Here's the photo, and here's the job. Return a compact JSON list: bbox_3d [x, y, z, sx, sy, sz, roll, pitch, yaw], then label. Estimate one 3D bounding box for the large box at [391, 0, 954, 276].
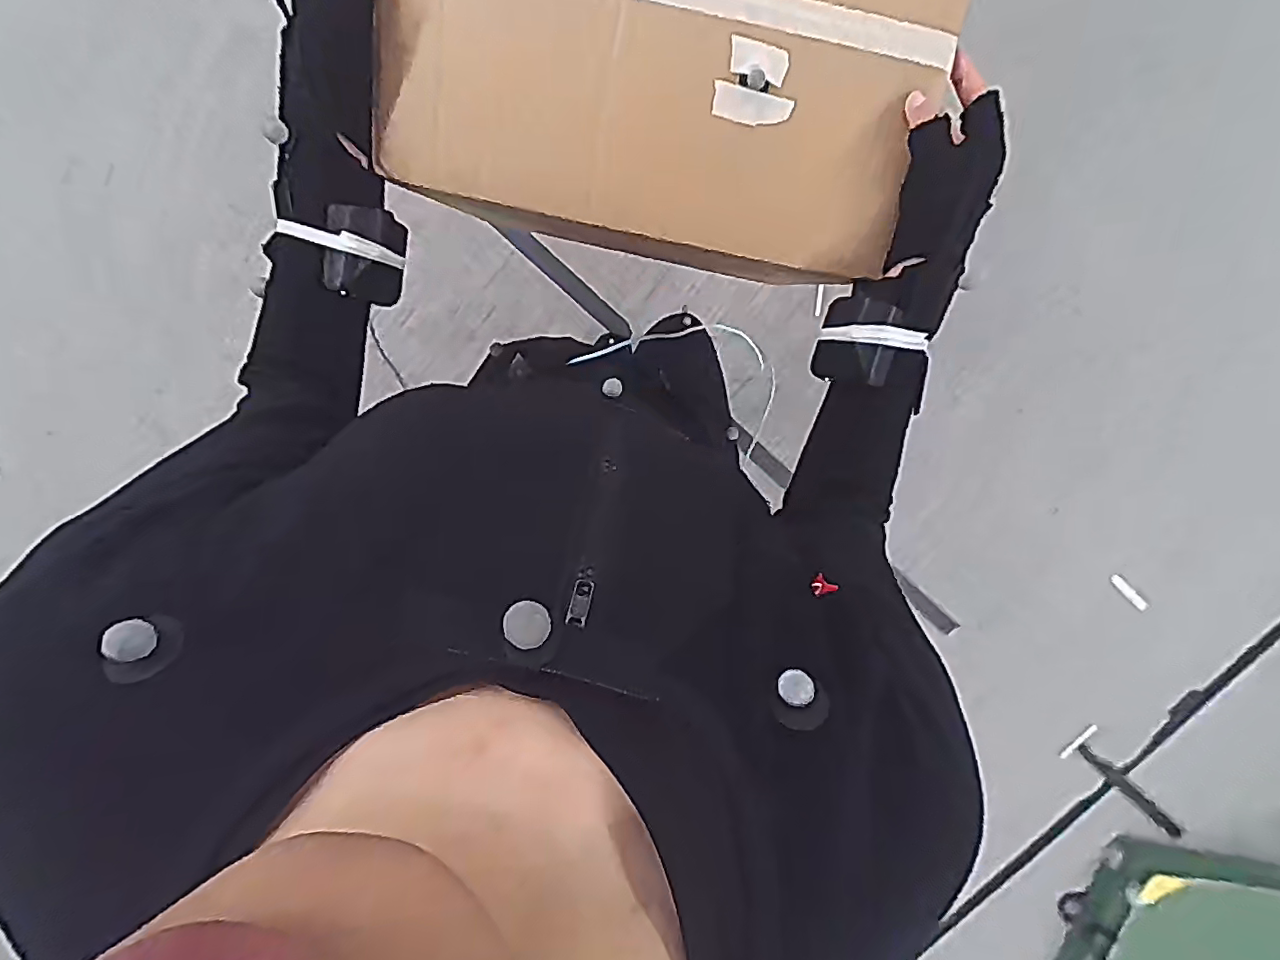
[{"bbox_3d":[0.021,-0.397,0.526,0.408,0.320,0.320,10,110,-5],"label":"large box"}]
